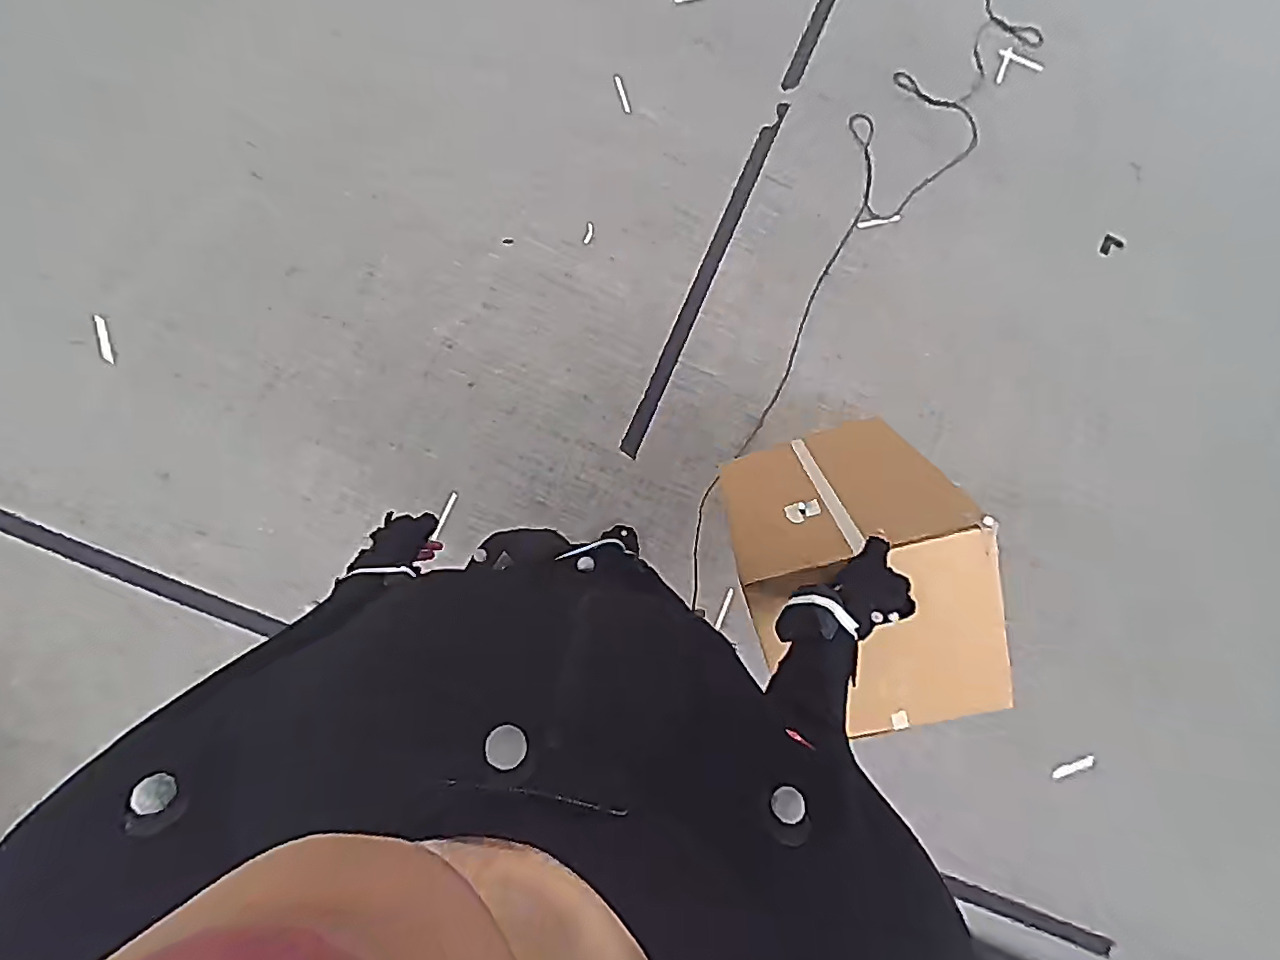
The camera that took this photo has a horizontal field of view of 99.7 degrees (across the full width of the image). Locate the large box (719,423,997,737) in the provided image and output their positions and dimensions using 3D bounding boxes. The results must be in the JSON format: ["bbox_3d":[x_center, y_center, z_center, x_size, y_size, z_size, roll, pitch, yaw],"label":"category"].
[{"bbox_3d":[0.339,0.146,0.922,0.320,0.408,0.320,-17,114,11],"label":"large box"}]
